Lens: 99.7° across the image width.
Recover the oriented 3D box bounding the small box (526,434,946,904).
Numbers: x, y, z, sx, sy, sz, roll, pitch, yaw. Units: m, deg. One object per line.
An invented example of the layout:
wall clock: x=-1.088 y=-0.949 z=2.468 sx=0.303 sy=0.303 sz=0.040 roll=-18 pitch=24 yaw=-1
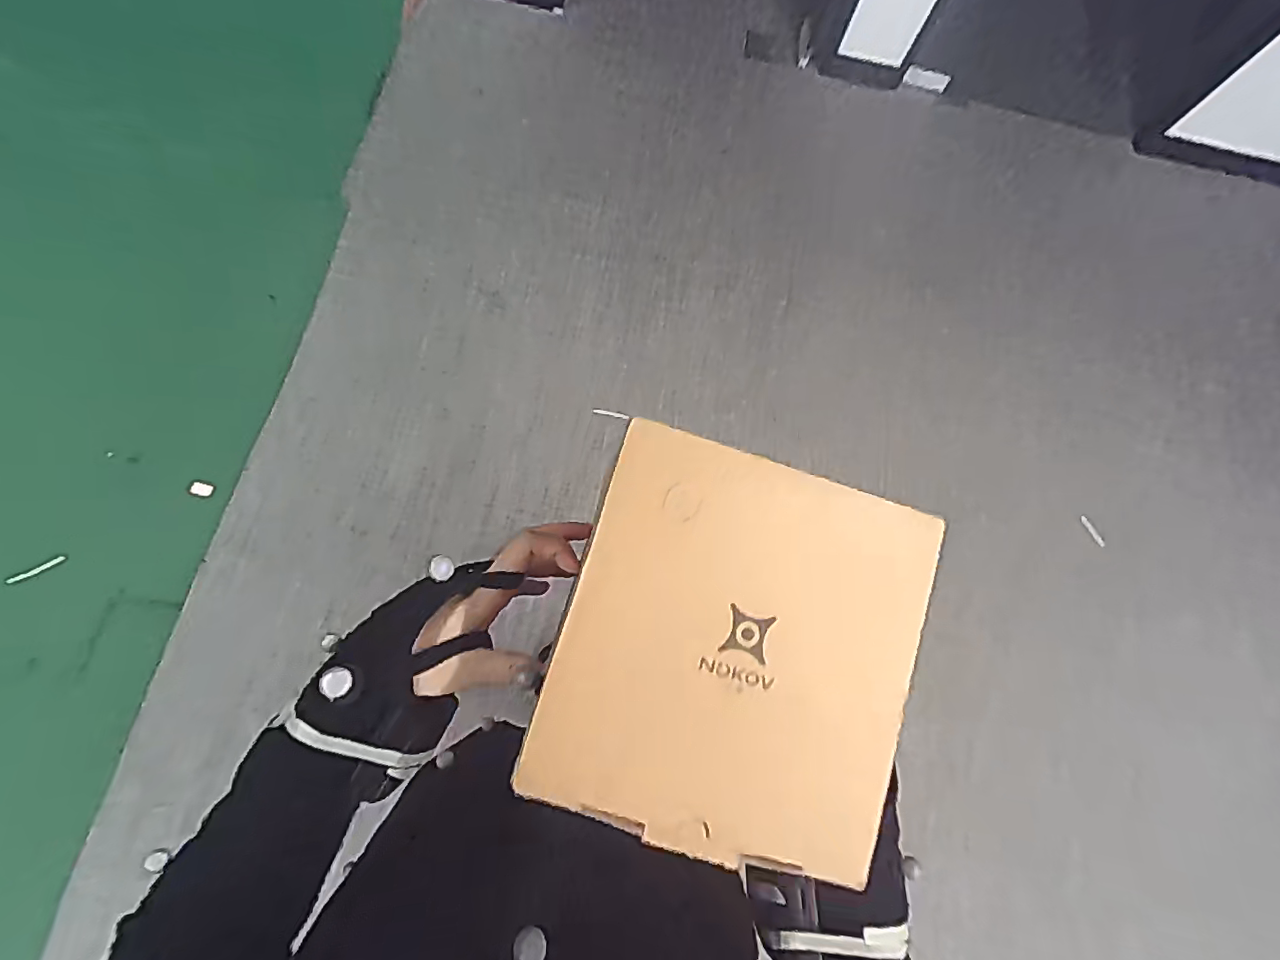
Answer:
small box: x=0.041 y=0.094 z=0.329 sx=0.168 sy=0.176 sz=0.179 roll=19 pitch=81 yaw=-4
